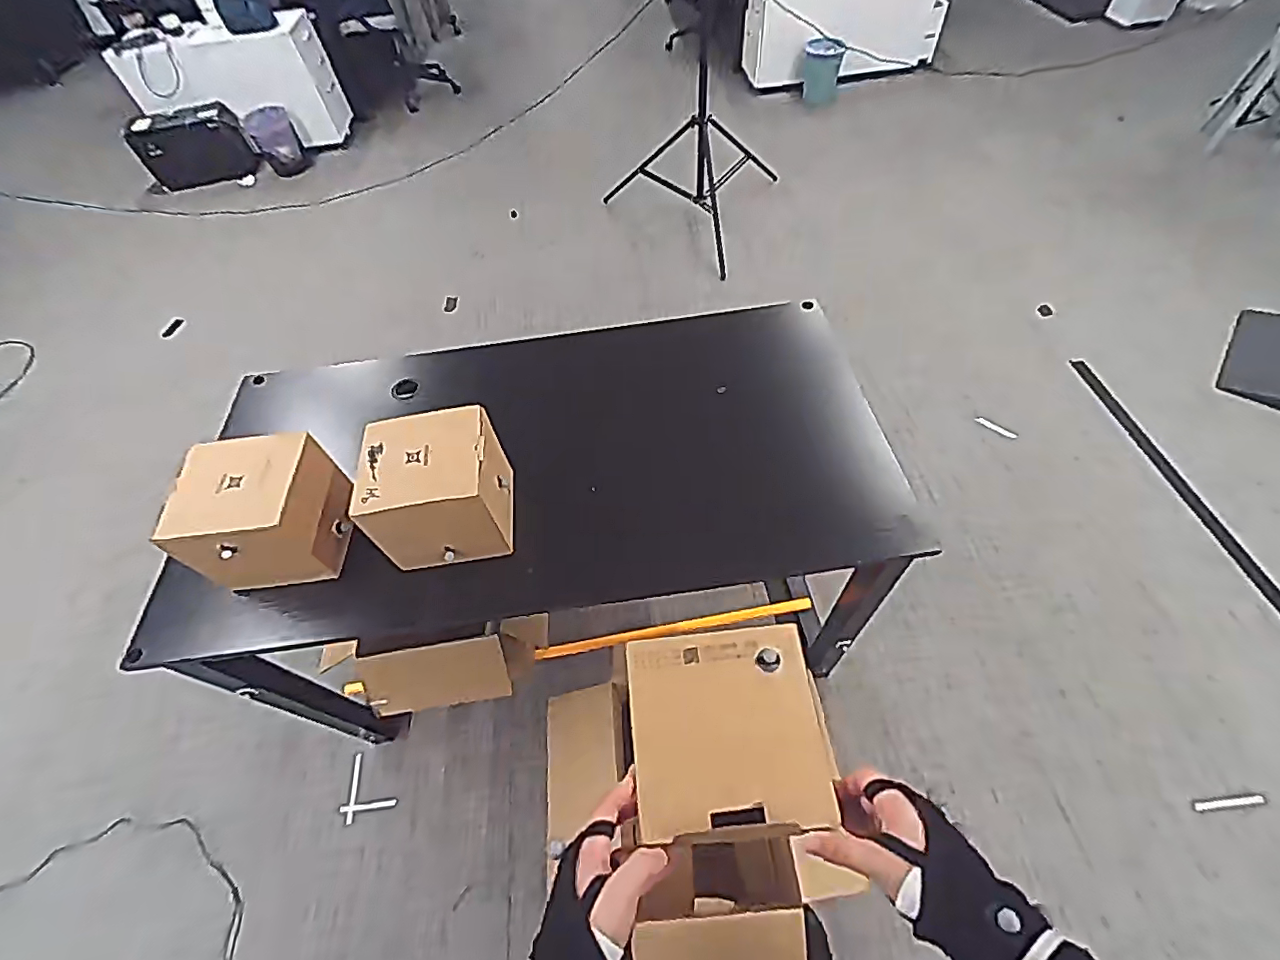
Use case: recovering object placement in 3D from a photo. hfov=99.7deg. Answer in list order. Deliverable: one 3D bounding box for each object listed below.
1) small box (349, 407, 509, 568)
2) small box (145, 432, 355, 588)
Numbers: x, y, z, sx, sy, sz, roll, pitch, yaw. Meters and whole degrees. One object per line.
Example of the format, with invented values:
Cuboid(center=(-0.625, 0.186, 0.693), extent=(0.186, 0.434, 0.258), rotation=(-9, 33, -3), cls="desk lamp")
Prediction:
Cuboid(center=(-0.300, 0.016, 0.815), extent=(0.179, 0.176, 0.168), rotation=(-9, 54, -2), cls="small box")
Cuboid(center=(-0.561, 0.051, 0.813), extent=(0.179, 0.176, 0.168), rotation=(-6, 55, 0), cls="small box")
